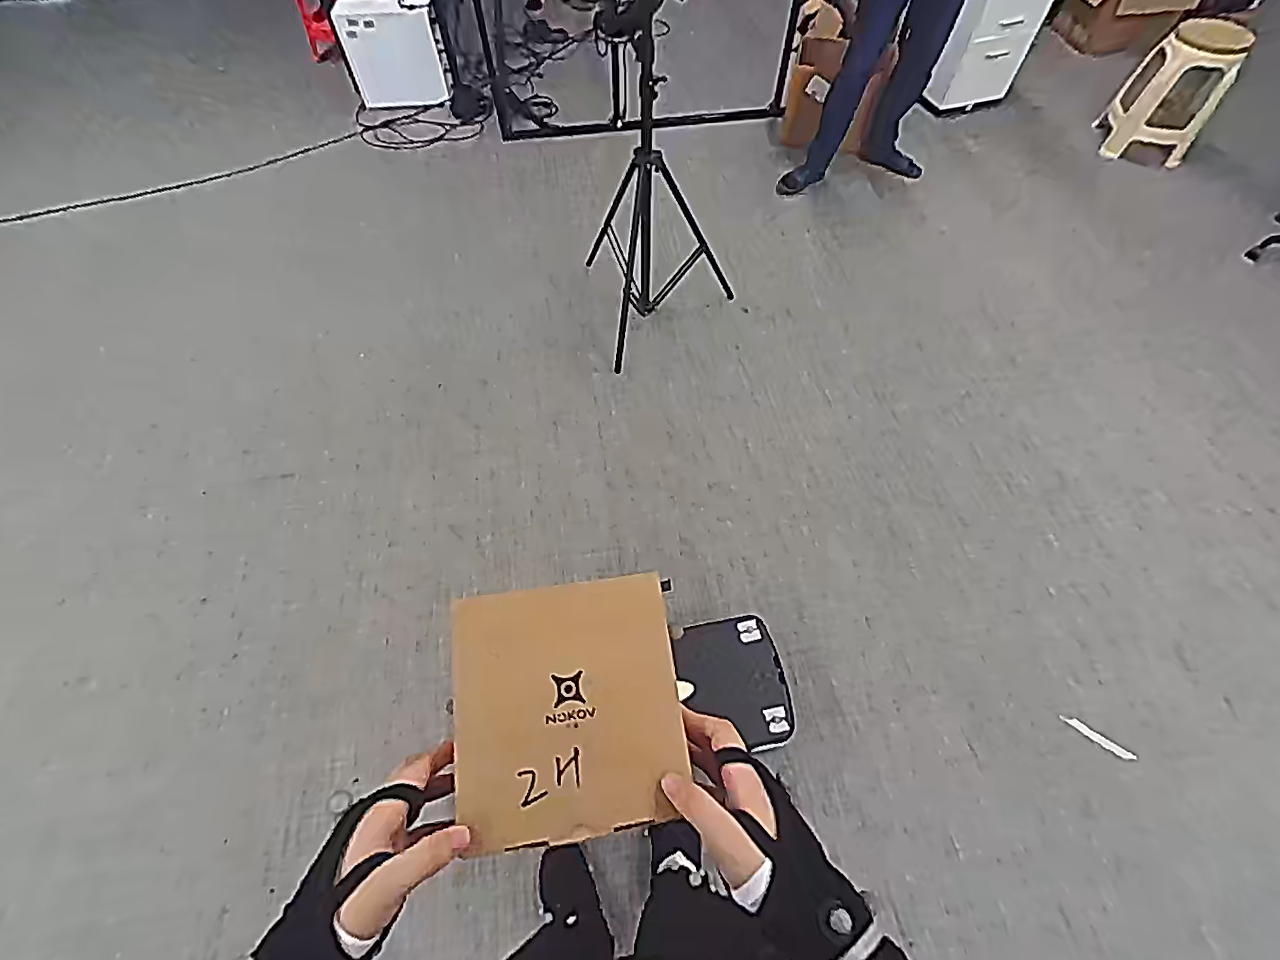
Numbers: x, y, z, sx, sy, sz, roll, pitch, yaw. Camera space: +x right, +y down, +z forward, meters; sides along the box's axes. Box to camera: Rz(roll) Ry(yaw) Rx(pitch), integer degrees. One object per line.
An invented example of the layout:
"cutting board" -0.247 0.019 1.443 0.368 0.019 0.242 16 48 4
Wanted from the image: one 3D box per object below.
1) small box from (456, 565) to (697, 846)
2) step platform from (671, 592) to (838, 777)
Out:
"small box" -0.058 0.187 0.472 0.168 0.176 0.179 -7 68 -7
"step platform" 0.012 0.440 1.064 0.684 0.204 0.286 -9 59 -6
